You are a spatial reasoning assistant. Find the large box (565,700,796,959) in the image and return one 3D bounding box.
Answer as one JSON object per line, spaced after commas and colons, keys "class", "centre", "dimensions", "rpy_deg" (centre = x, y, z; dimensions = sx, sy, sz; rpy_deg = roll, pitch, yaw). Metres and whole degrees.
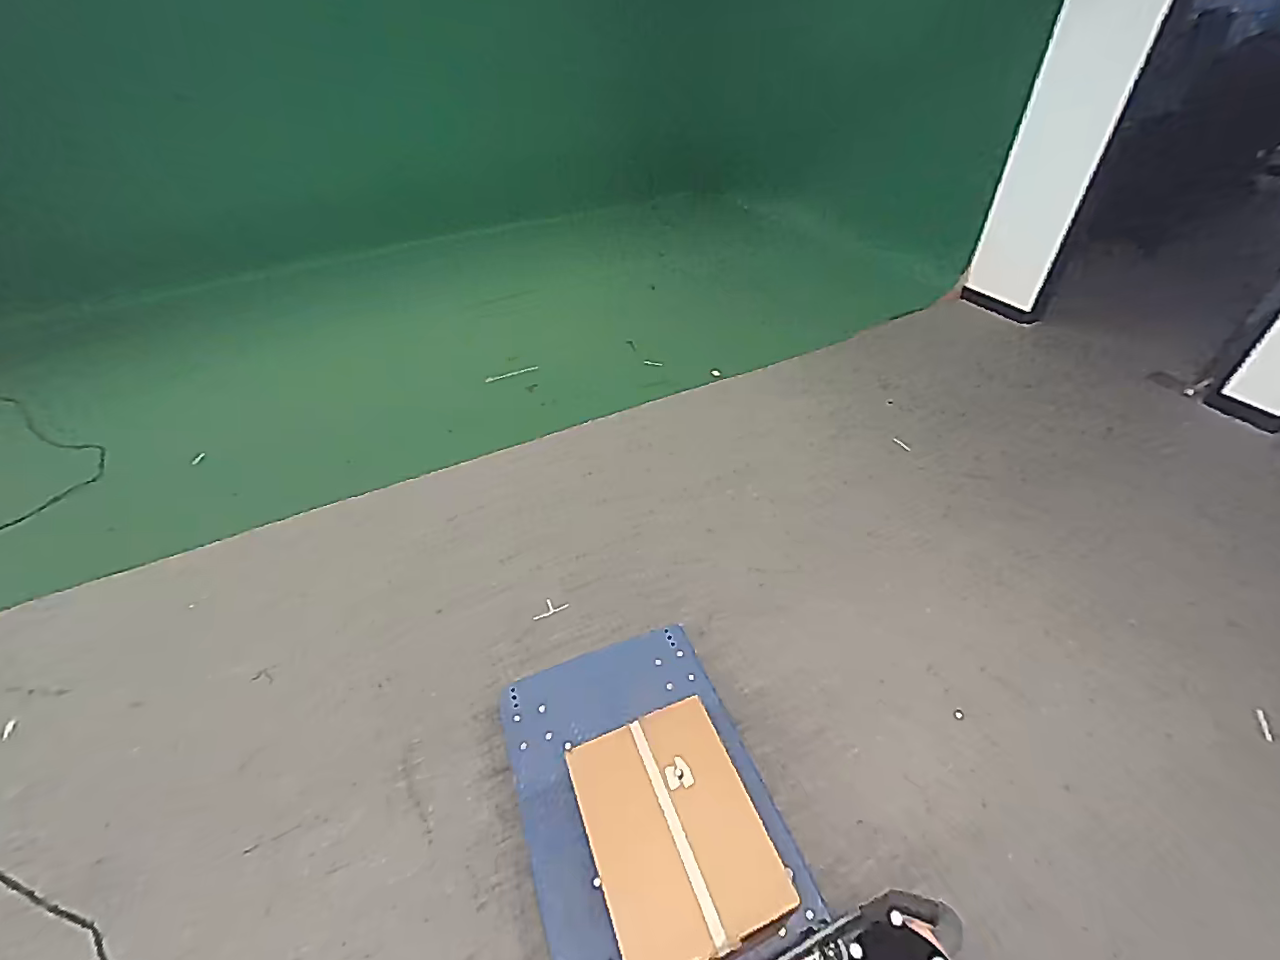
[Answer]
{"class": "large box", "centre": [0.069, 0.766, 1.136], "dimensions": [0.320, 0.320, 0.408], "rpy_deg": [-17, 43, -14]}
